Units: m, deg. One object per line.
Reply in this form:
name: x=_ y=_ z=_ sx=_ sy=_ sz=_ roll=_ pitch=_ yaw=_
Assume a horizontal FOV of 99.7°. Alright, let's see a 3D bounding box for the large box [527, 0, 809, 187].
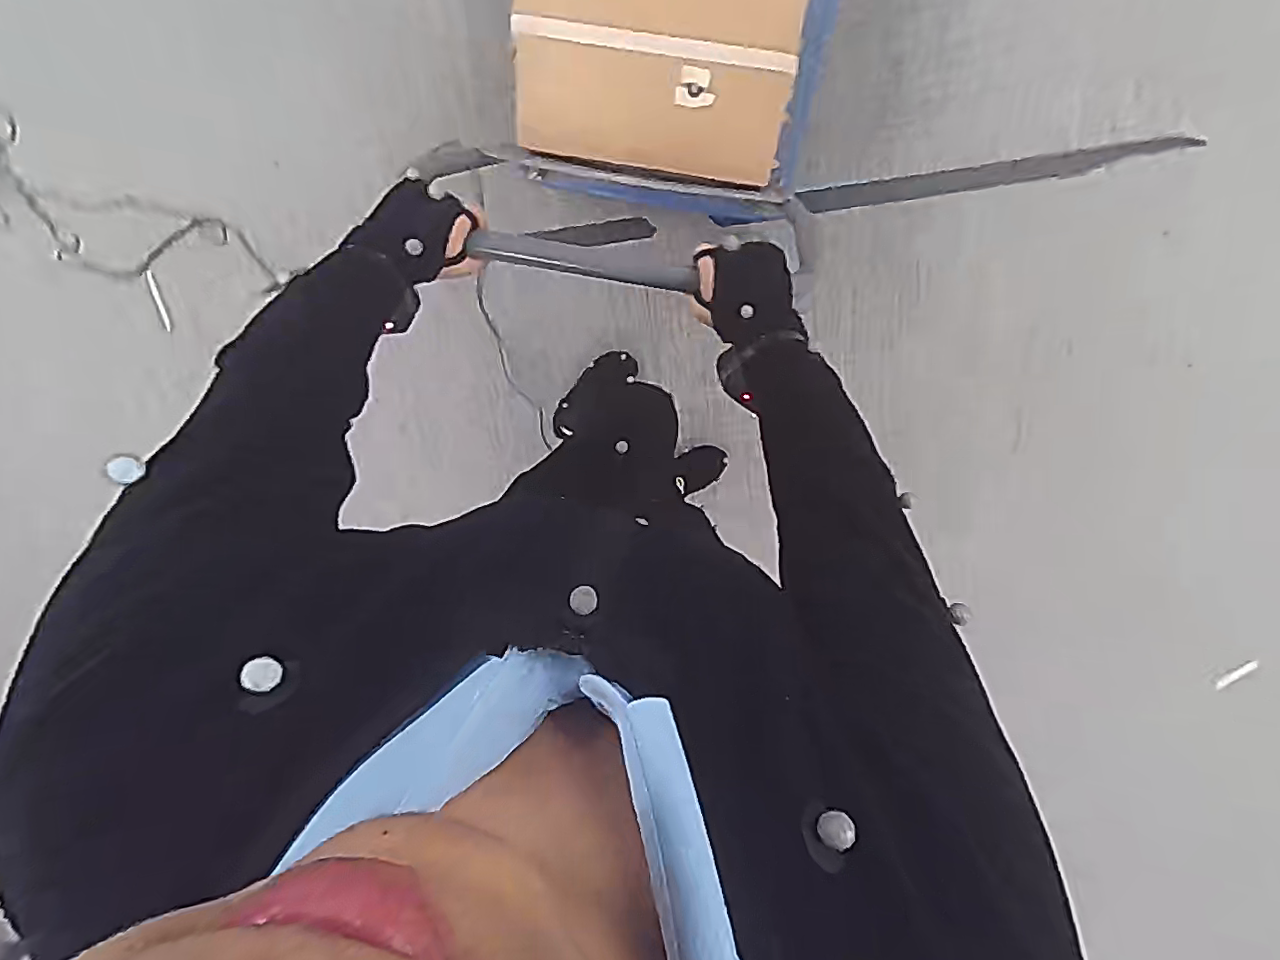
large box: x=0.040 y=-0.699 z=0.921 sx=0.408 sy=0.320 sz=0.320 roll=8 pitch=121 yaw=1
